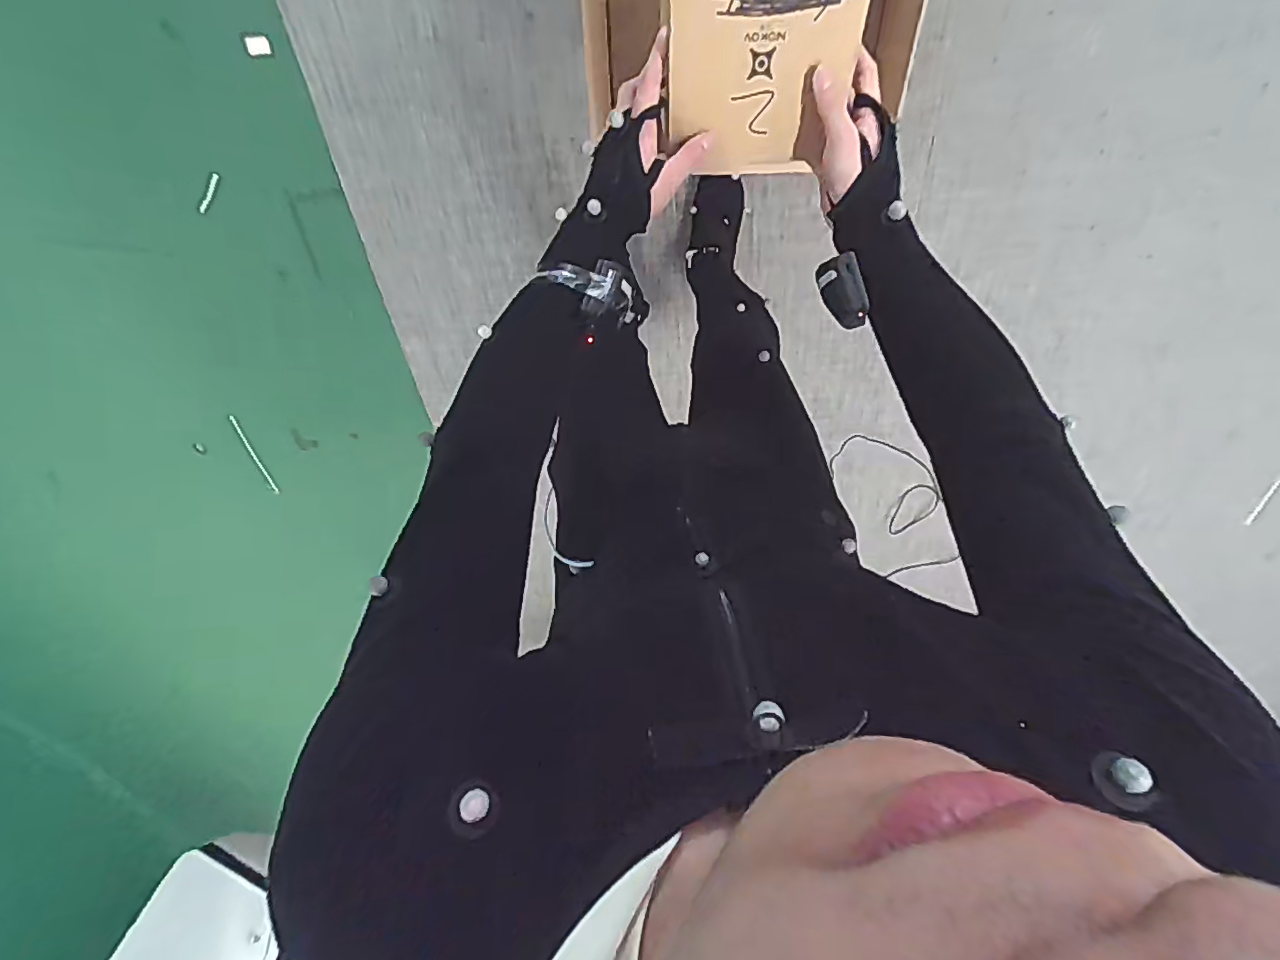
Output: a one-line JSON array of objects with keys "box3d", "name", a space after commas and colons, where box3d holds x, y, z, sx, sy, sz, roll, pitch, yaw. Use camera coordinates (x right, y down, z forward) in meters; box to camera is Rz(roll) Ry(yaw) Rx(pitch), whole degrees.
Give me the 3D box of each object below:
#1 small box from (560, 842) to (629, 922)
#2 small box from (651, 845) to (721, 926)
[{"box3d": [-0.140, 1.297, 1.749, 0.179, 0.176, 0.168, -7, 126, 9], "name": "small box"}, {"box3d": [0.145, 1.271, 1.700, 0.168, 0.176, 0.179, -18, 124, 18], "name": "small box"}]
